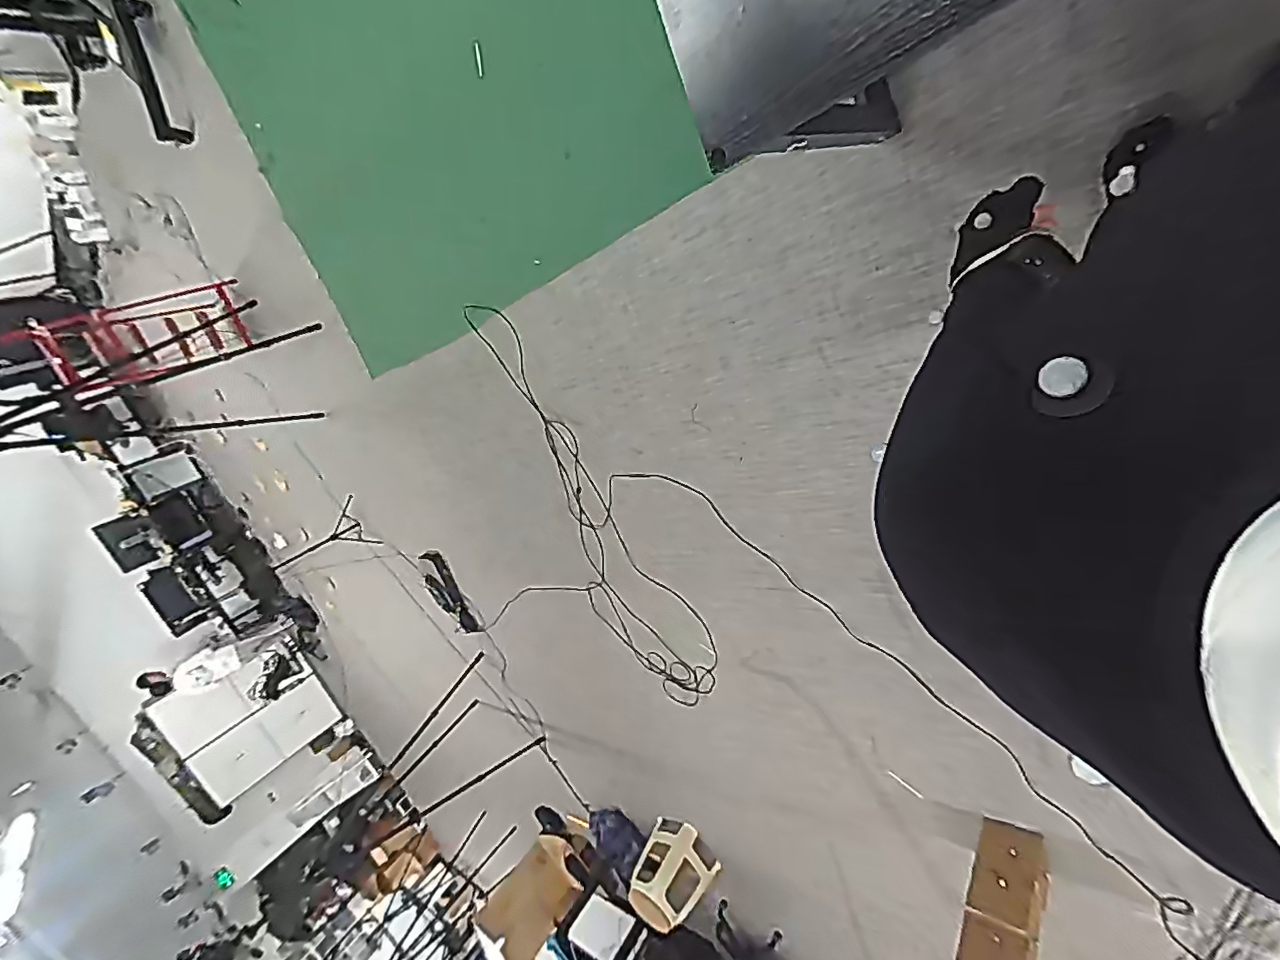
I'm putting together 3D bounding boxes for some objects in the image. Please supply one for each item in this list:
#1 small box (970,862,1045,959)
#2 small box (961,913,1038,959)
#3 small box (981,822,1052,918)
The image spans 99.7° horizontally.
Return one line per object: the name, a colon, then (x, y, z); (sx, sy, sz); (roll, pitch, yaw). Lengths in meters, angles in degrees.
small box: (1.154, 1.359, 1.693); (0.168, 0.176, 0.179); (-4, 112, 43)
small box: (1.061, 1.439, 1.585); (0.168, 0.176, 0.179); (-5, 112, 43)
small box: (1.256, 1.286, 1.799); (0.179, 0.176, 0.168); (-6, 112, 43)
